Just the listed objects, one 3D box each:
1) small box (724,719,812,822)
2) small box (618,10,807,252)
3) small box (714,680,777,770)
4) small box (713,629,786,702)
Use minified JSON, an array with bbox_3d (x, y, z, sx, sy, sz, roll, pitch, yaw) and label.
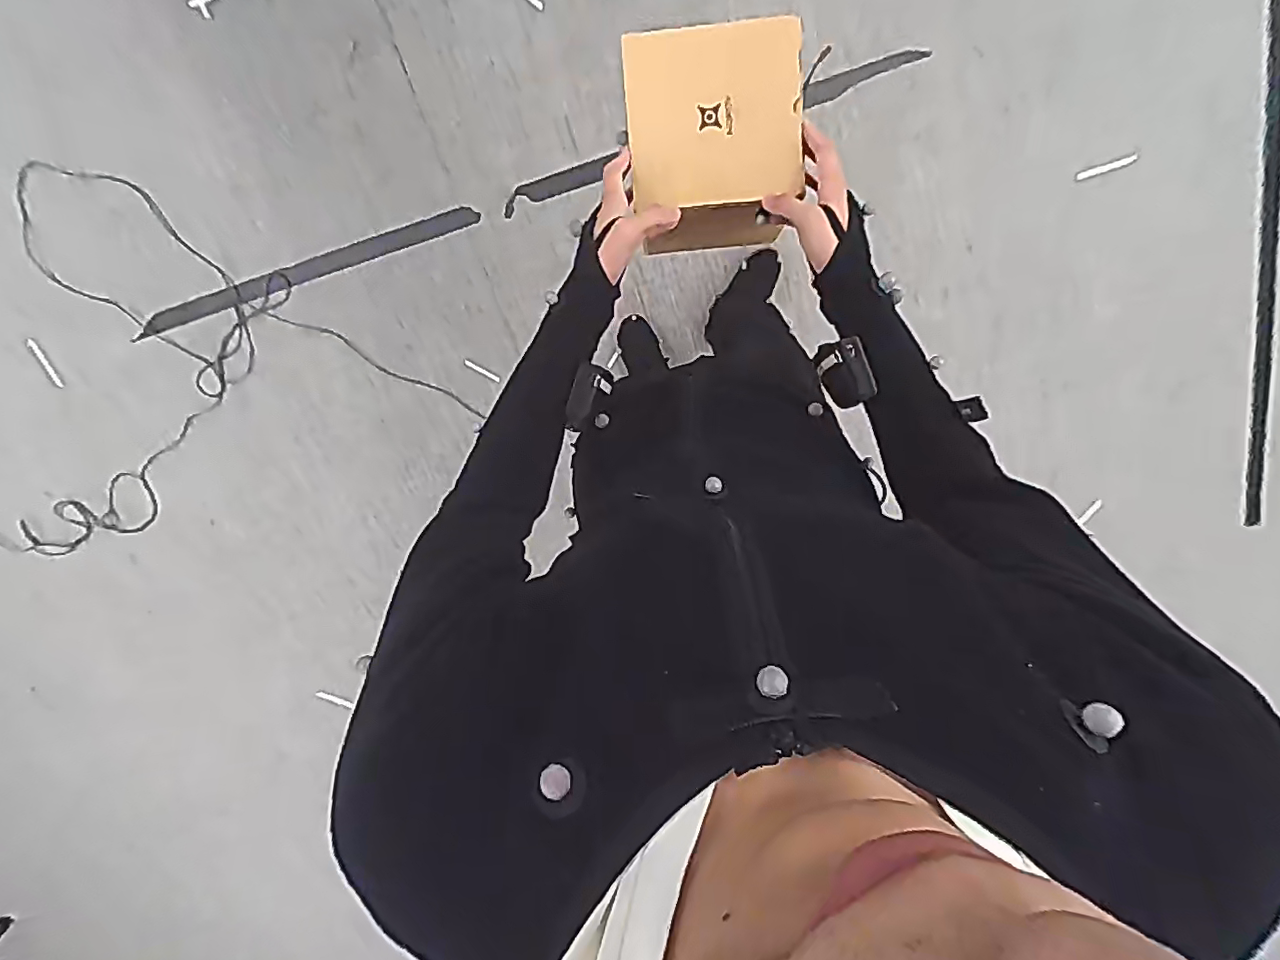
[{"bbox_3d":[0.355,0.806,1.516,0.179,0.176,0.168,-21,109,5],"label":"small box"},{"bbox_3d":[0.075,-0.365,0.601,0.179,0.176,0.168,-5,98,2],"label":"small box"},{"bbox_3d":[0.335,0.756,1.672,0.168,0.176,0.179,-14,109,2],"label":"small box"},{"bbox_3d":[0.362,0.634,1.802,0.168,0.176,0.179,-28,107,7],"label":"small box"}]
